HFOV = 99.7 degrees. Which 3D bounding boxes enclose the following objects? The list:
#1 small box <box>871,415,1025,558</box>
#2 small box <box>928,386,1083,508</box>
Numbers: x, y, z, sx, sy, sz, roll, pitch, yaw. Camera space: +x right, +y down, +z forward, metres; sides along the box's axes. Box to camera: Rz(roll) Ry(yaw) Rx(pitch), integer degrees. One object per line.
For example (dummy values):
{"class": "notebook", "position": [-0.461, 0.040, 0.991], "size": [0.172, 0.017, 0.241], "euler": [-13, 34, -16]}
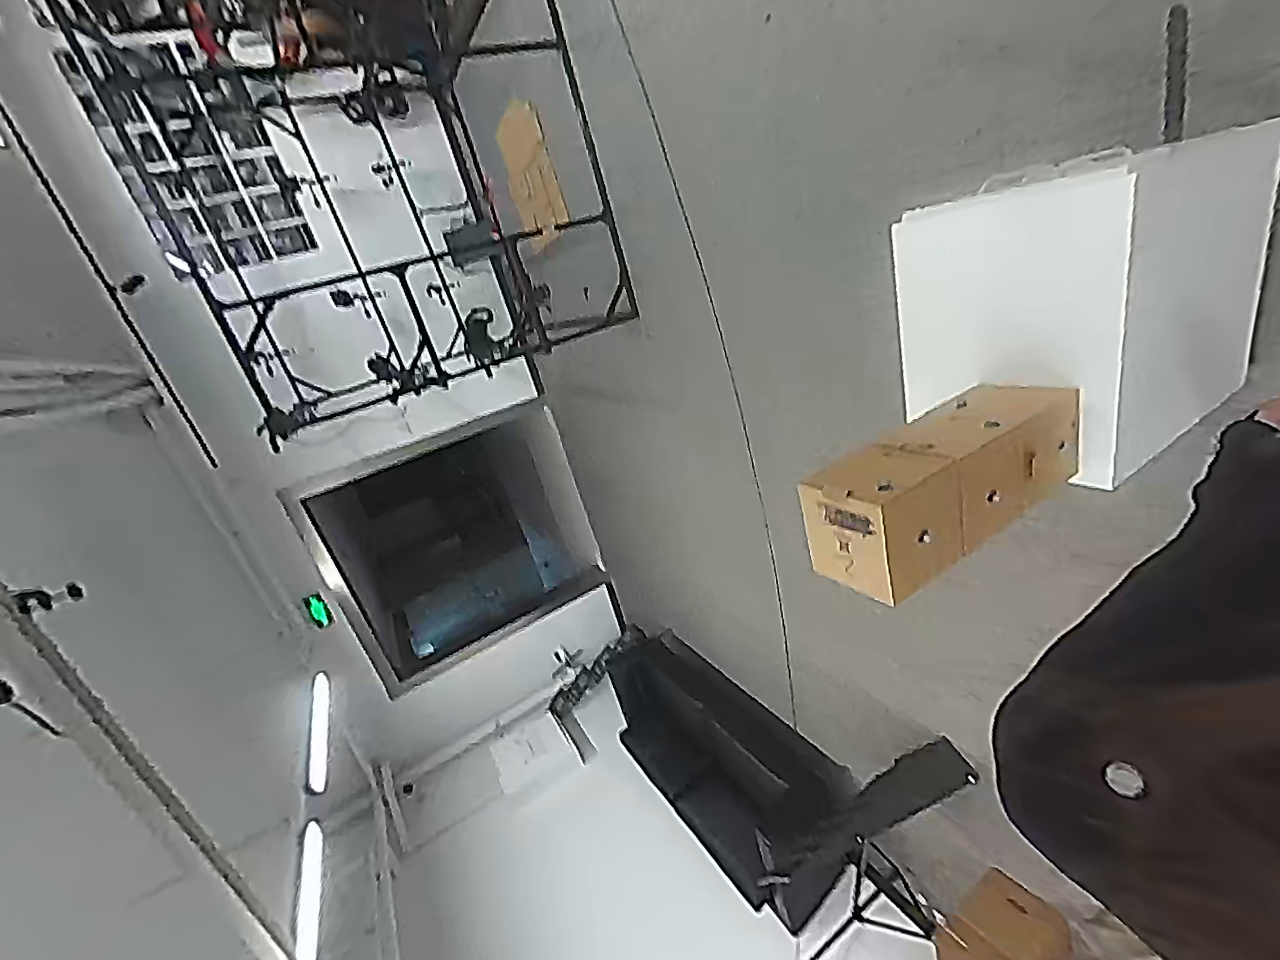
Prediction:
{"class": "small box", "position": [0.533, 0.001, 0.935], "size": [0.168, 0.176, 0.179], "euler": [26, 137, 60]}
{"class": "small box", "position": [0.669, -0.068, 0.998], "size": [0.179, 0.176, 0.168], "euler": [24, 135, 60]}
